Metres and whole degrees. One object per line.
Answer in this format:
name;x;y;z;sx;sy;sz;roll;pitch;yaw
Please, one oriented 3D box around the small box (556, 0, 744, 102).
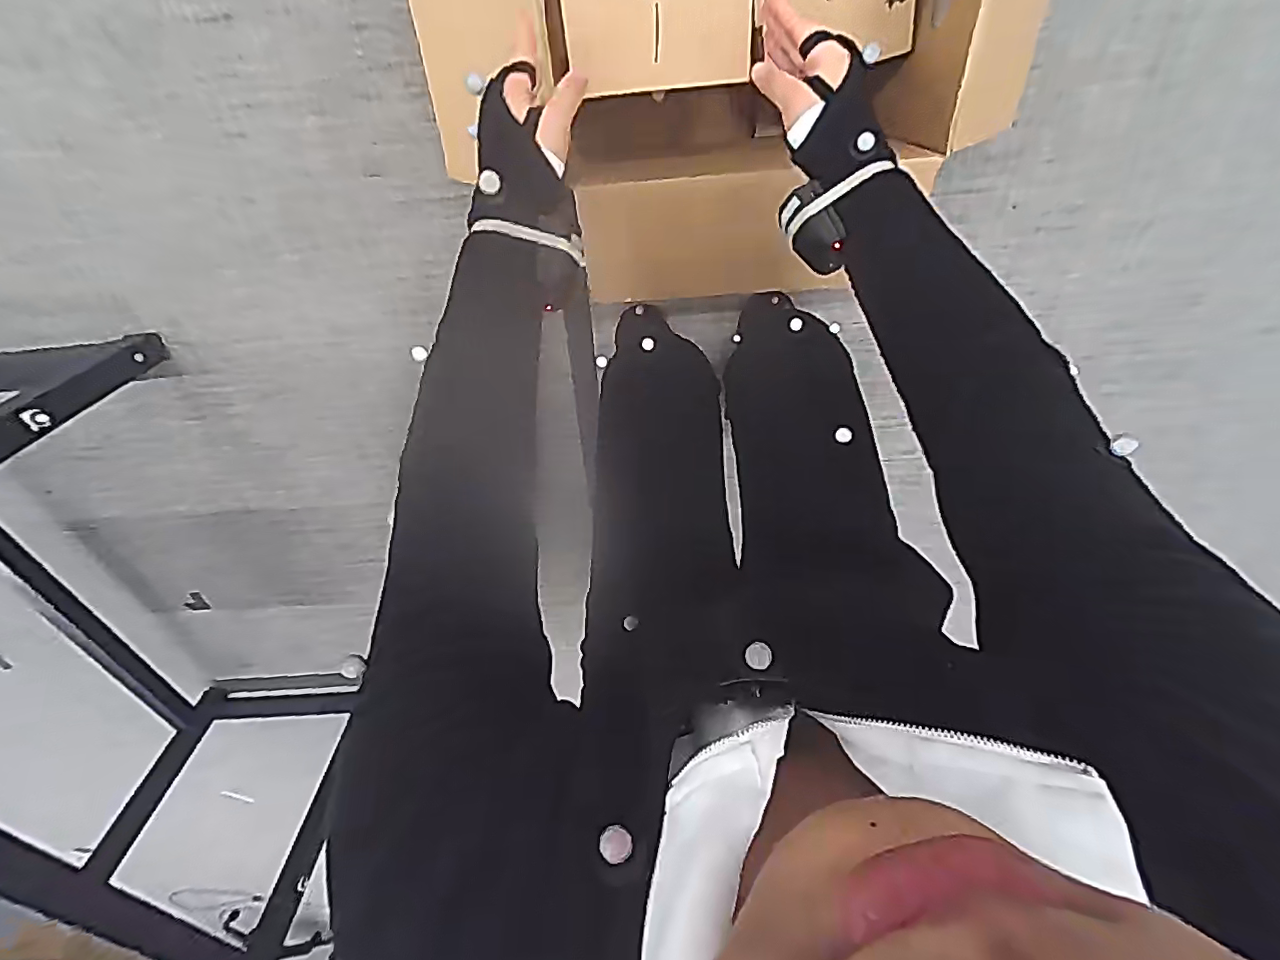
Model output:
small box;0.010;-0.478;0.516;0.168;0.176;0.179;-1;130;6
